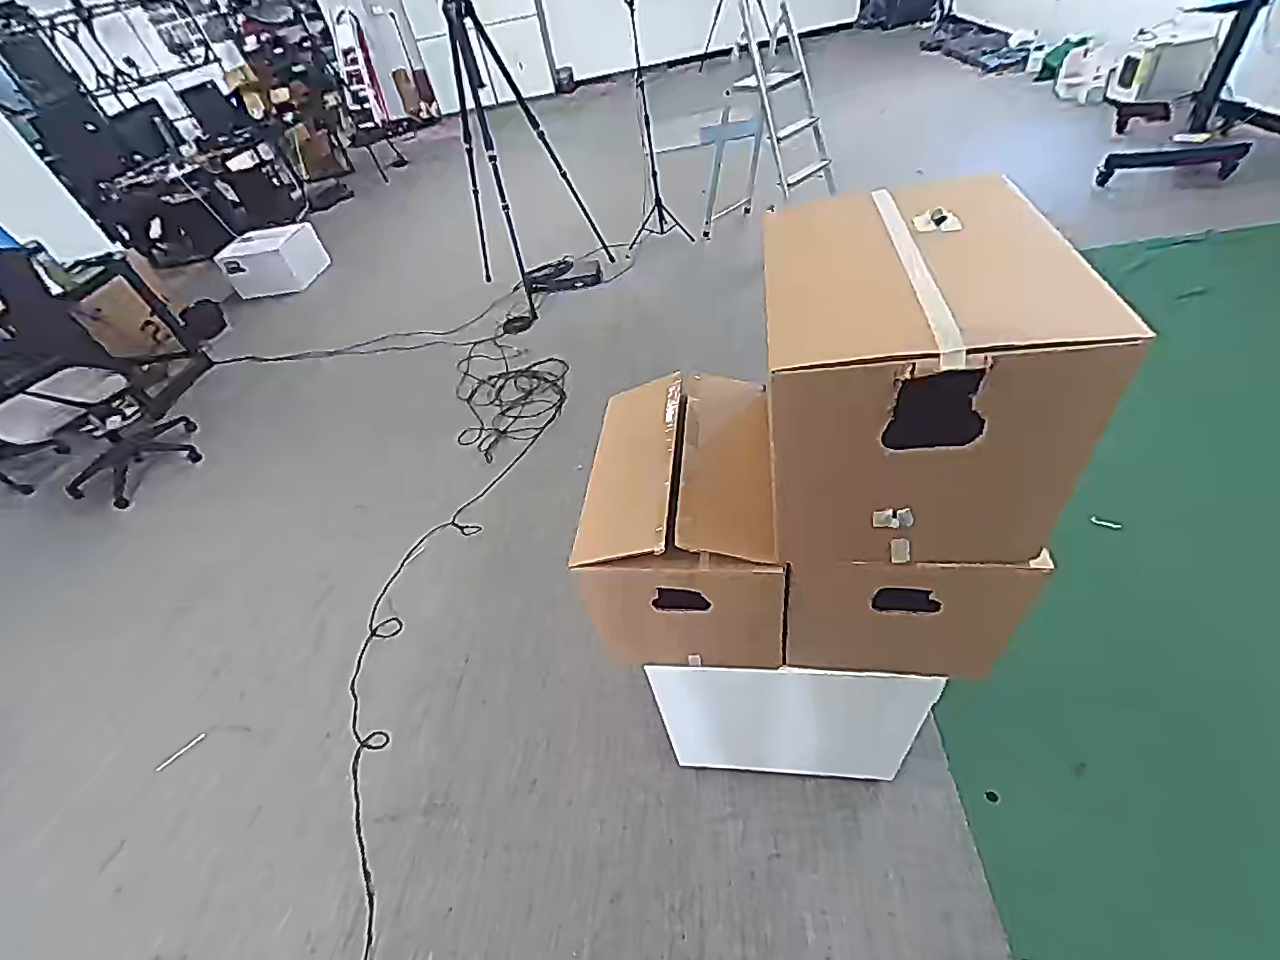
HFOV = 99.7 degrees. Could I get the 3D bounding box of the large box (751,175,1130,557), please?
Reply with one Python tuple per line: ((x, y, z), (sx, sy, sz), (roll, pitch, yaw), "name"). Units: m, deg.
((0.320, -0.150, 0.720), (0.320, 0.320, 0.408), (-3, 45, 14), "large box")
